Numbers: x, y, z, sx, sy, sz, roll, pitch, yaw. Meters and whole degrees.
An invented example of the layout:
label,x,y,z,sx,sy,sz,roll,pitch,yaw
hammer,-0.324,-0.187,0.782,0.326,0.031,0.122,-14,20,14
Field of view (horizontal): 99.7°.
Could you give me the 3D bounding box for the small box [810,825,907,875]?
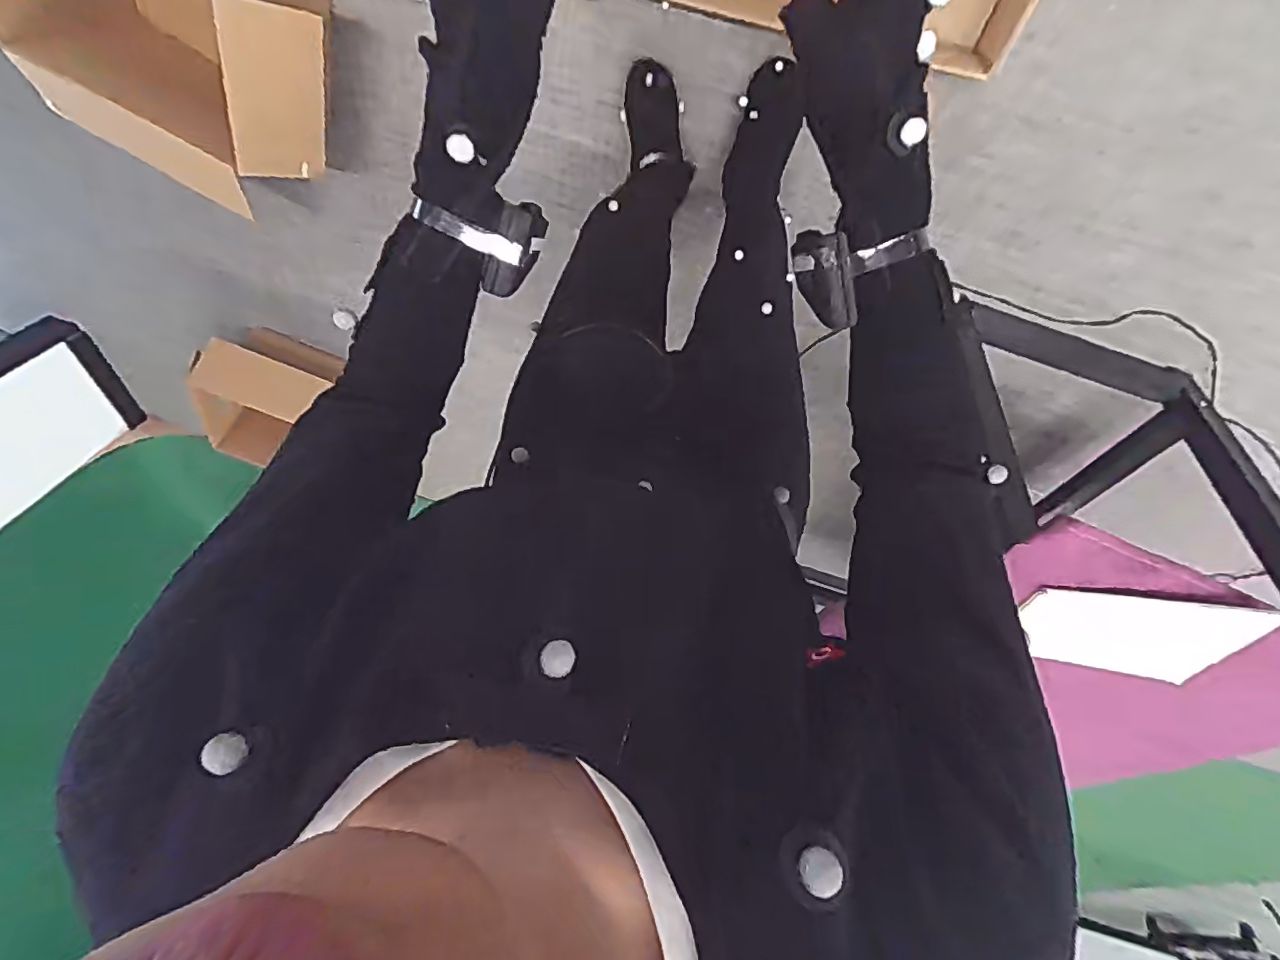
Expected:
label,x,y,z,sx,sy,sz,roll,pitch,yaw
small box,0.570,0.916,1.426,0.179,0.176,0.168,22,138,-6
